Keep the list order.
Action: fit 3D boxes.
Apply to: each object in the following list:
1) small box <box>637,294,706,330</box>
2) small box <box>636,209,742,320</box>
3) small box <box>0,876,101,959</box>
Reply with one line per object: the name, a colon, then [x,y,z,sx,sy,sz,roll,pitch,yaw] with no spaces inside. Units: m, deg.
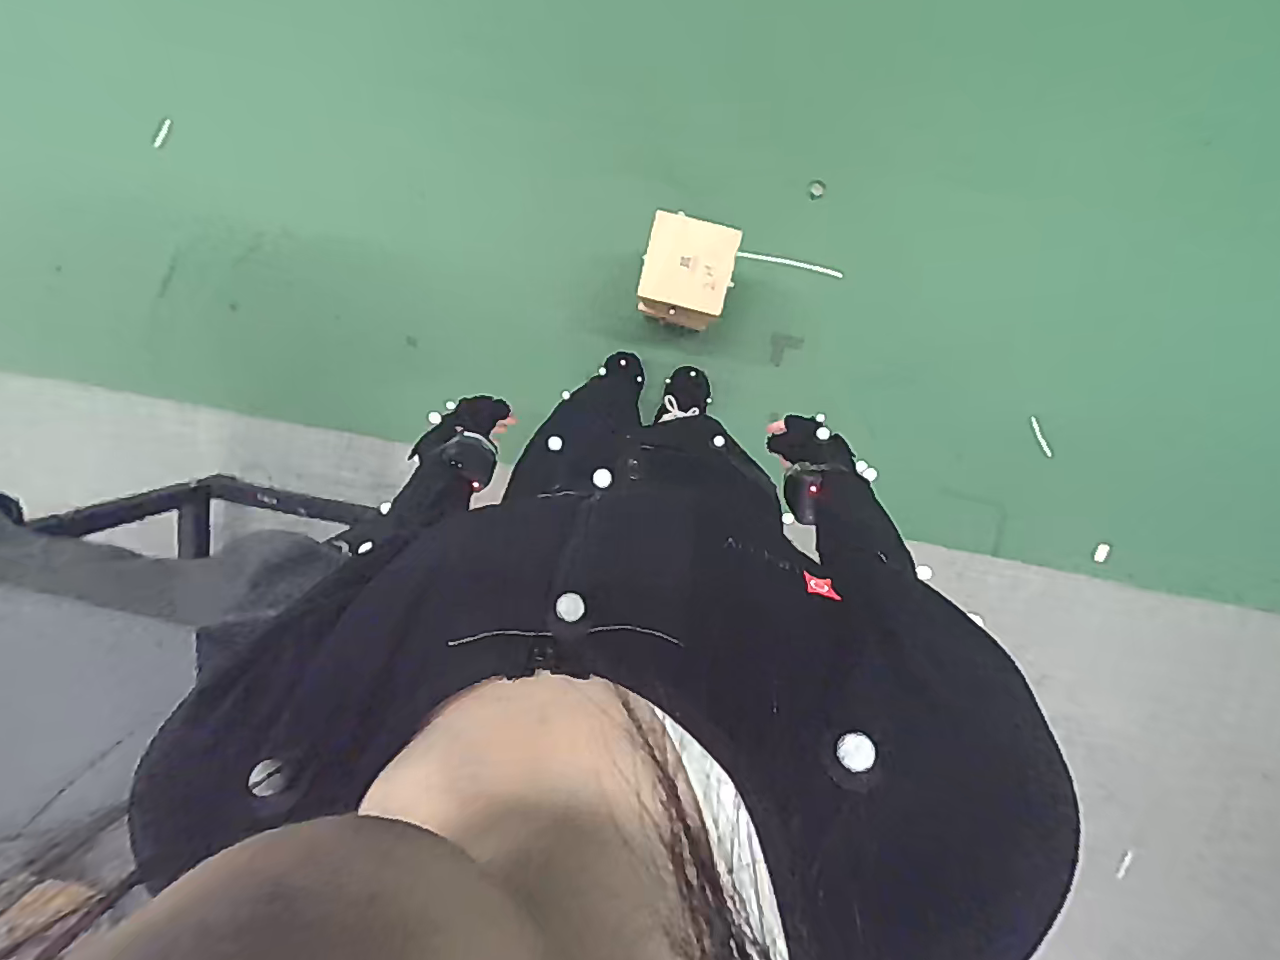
small box: [0.098,-0.469,1.304,0.168,0.176,0.179,16,102,0]
small box: [0.098,-0.444,1.141,0.179,0.176,0.168,15,102,0]
small box: [-1.067,0.808,0.900,0.179,0.176,0.168,12,103,0]
